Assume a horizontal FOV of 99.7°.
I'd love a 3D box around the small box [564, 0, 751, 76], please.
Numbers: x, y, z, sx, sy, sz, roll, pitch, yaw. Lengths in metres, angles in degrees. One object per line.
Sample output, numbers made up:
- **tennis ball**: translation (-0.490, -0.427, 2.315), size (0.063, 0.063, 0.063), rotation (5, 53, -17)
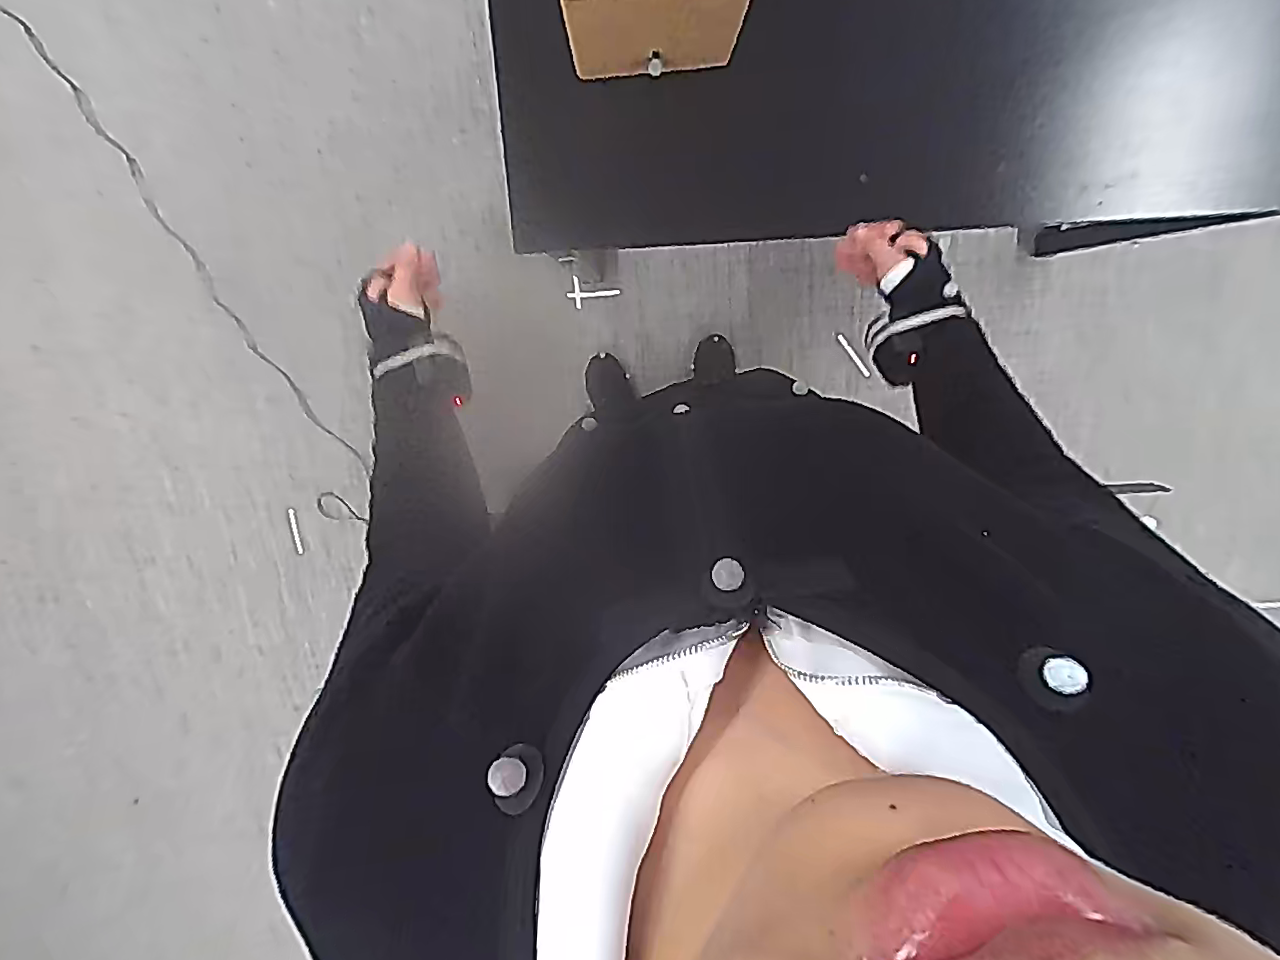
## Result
- **small box**: translation (0.009, -0.529, 0.526), size (0.179, 0.176, 0.168), rotation (-5, 106, 0)
